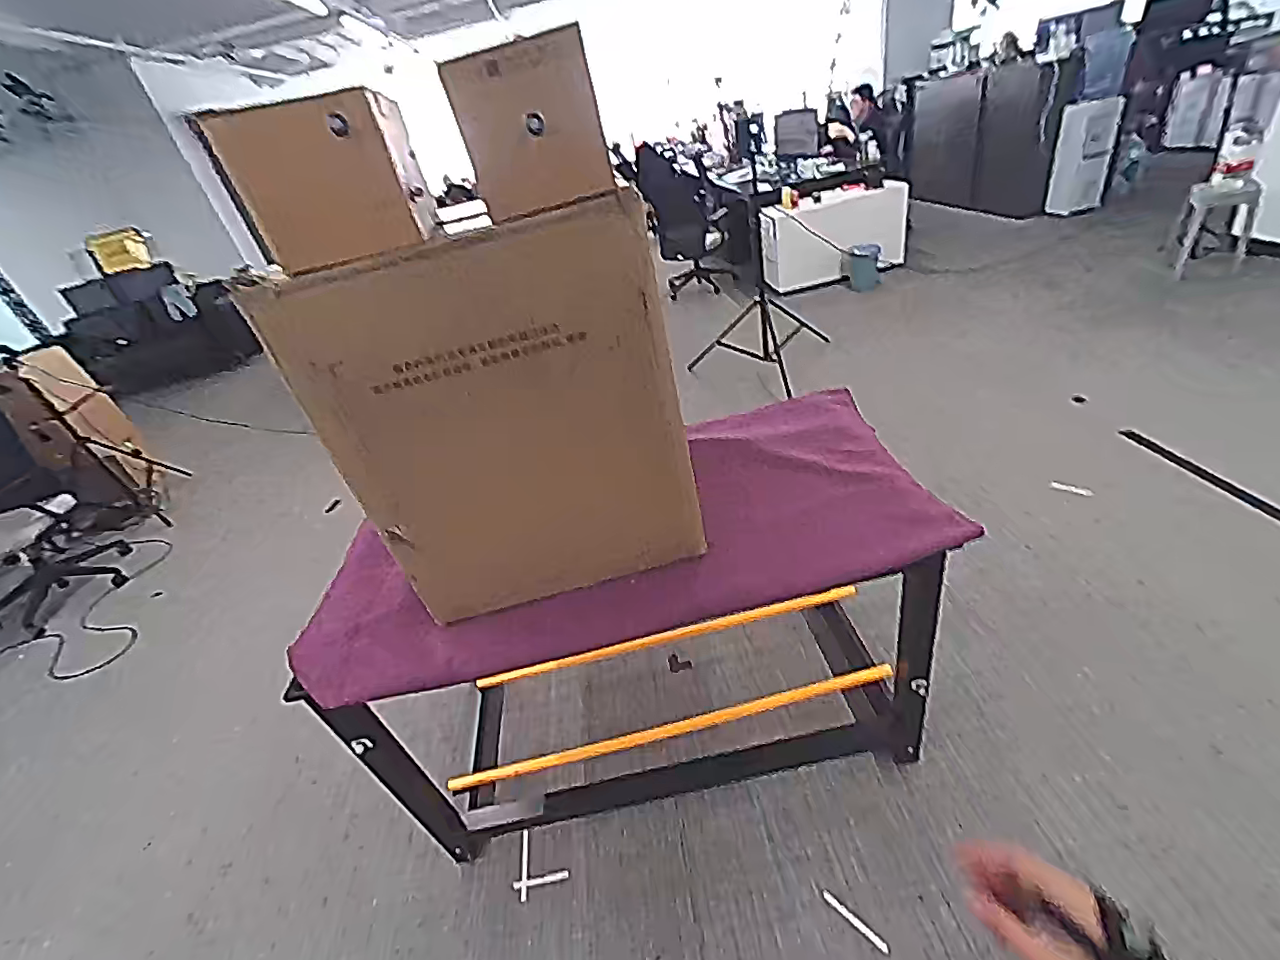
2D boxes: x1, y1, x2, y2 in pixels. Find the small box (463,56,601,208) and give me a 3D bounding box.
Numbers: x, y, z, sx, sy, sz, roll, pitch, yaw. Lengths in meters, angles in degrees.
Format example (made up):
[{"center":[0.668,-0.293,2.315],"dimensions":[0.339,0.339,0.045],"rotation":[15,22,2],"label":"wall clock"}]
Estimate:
[{"center":[-0.164,-0.554,0.875],"dimensions":[0.168,0.176,0.179],"rotation":[-14,34,2],"label":"small box"}]
